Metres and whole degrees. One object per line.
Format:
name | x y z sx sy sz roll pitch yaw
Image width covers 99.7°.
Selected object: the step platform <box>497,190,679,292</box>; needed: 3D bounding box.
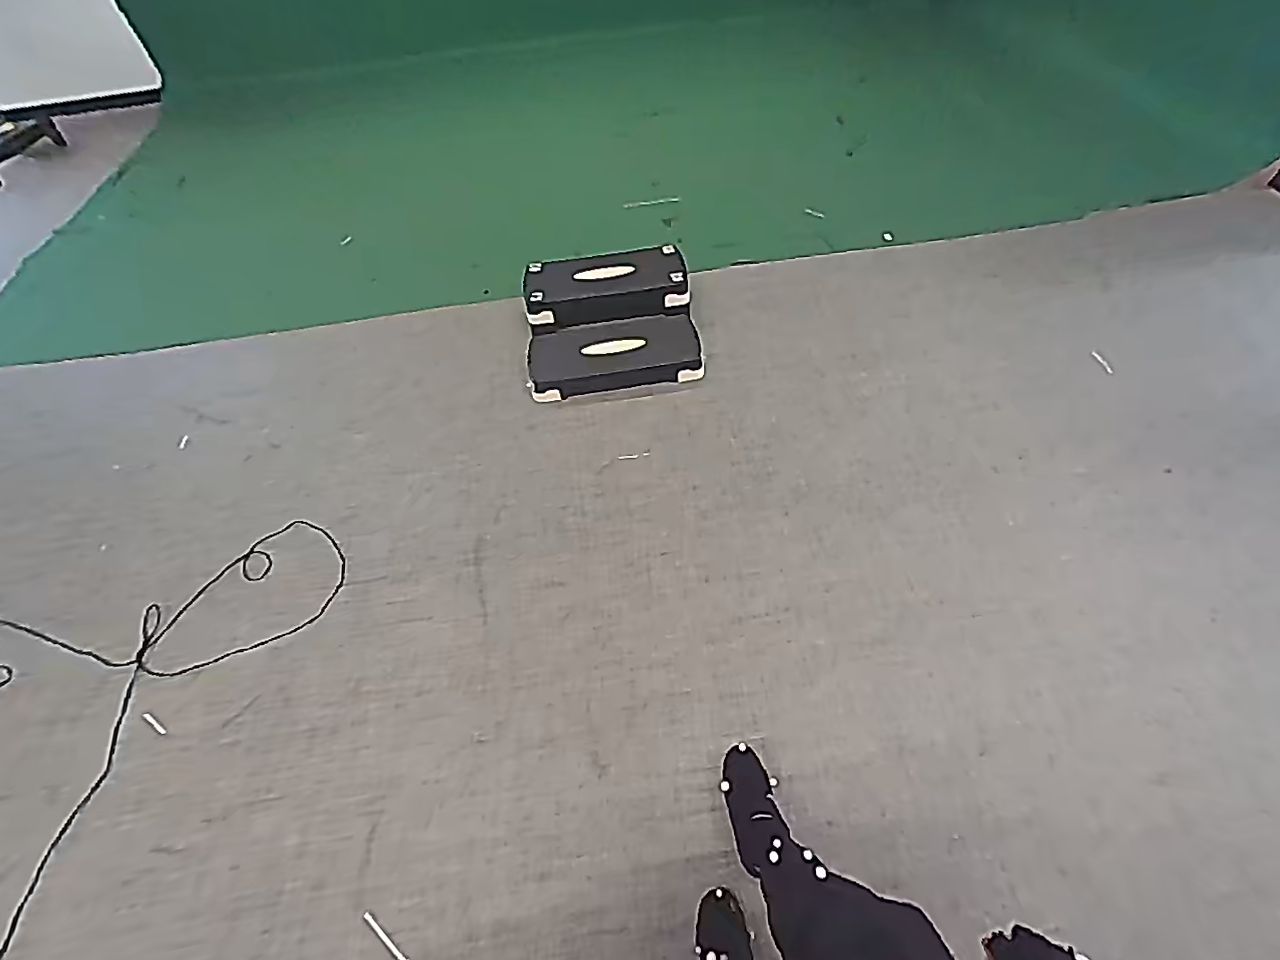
step platform | -0.194 -0.931 2.104 0.684 0.204 0.286 -9 55 -1
